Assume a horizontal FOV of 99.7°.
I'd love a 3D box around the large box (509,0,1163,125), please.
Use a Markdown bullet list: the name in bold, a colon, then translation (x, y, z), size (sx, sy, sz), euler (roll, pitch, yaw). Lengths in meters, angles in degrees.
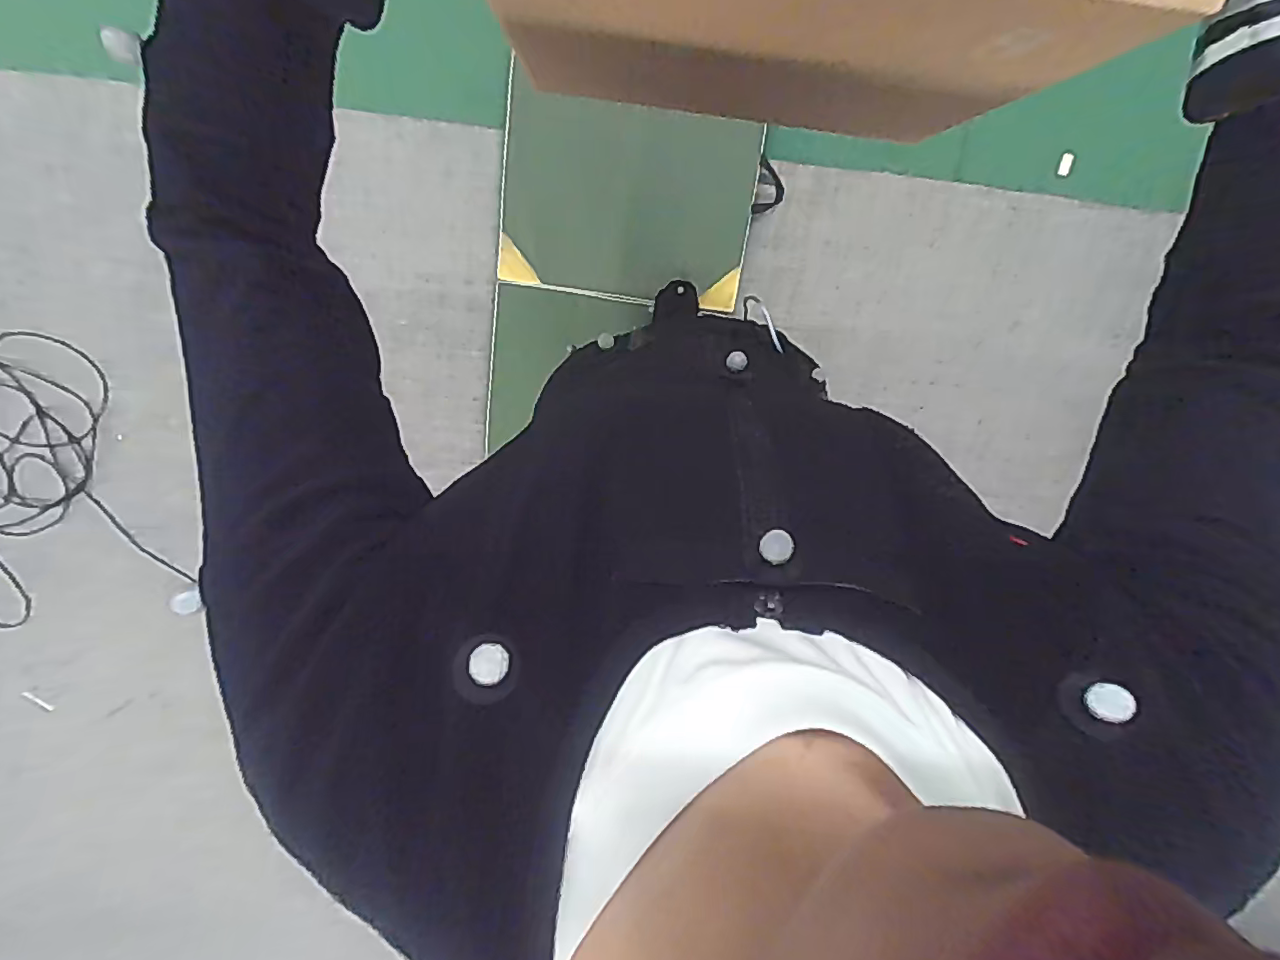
- **large box**: translation (0.113, -0.471, 0.361), size (0.408, 0.320, 0.320), euler (5, 112, -4)
